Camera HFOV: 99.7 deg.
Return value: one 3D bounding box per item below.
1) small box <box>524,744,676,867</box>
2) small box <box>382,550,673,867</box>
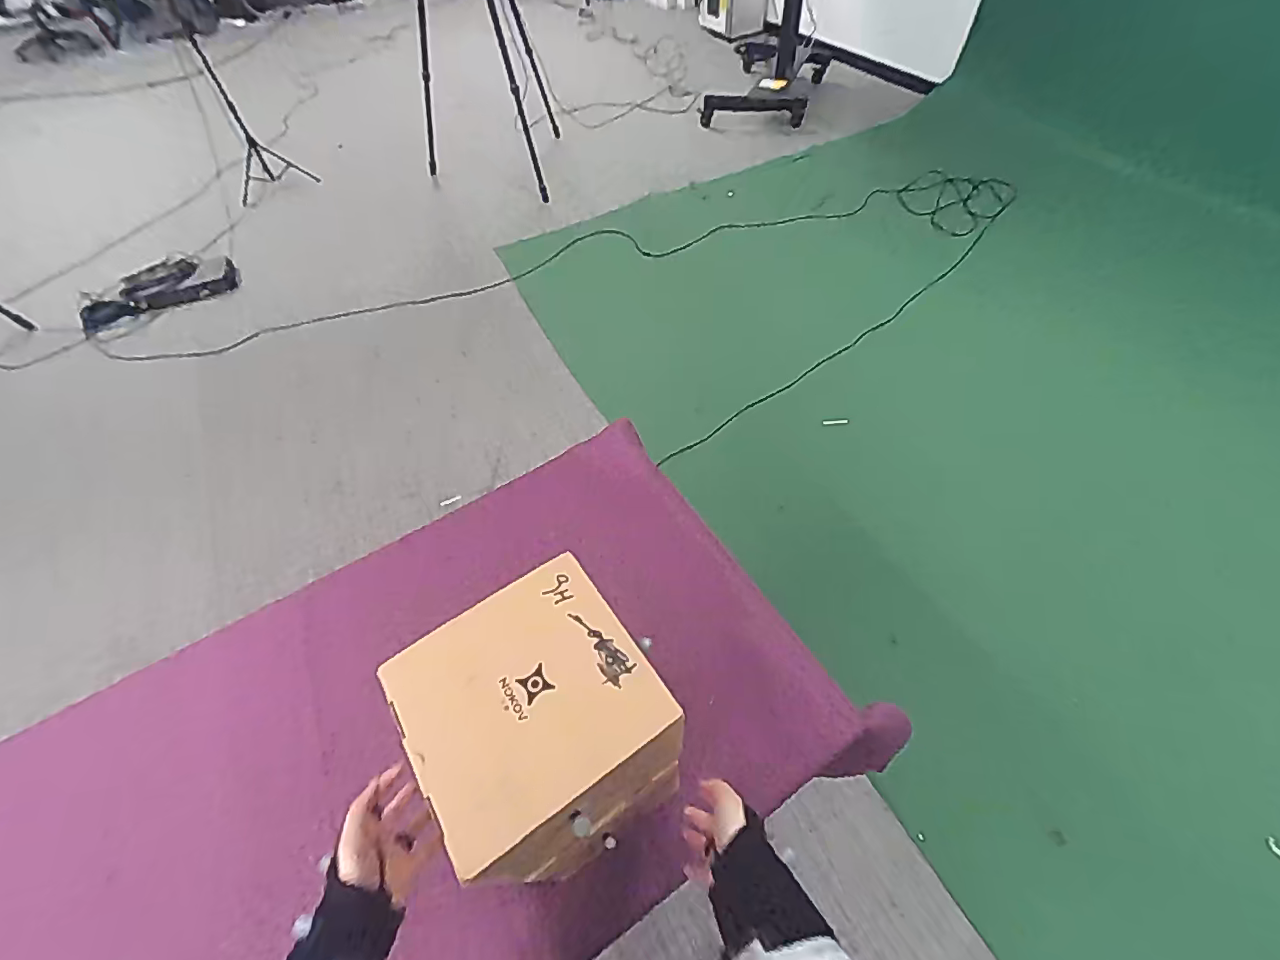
[{"bbox_3d":[-0.076,0.296,0.606,0.168,0.176,0.179,-31,59,-18],"label":"small box"},{"bbox_3d":[-0.083,0.201,0.472,0.179,0.176,0.168,-31,58,-17],"label":"small box"}]
